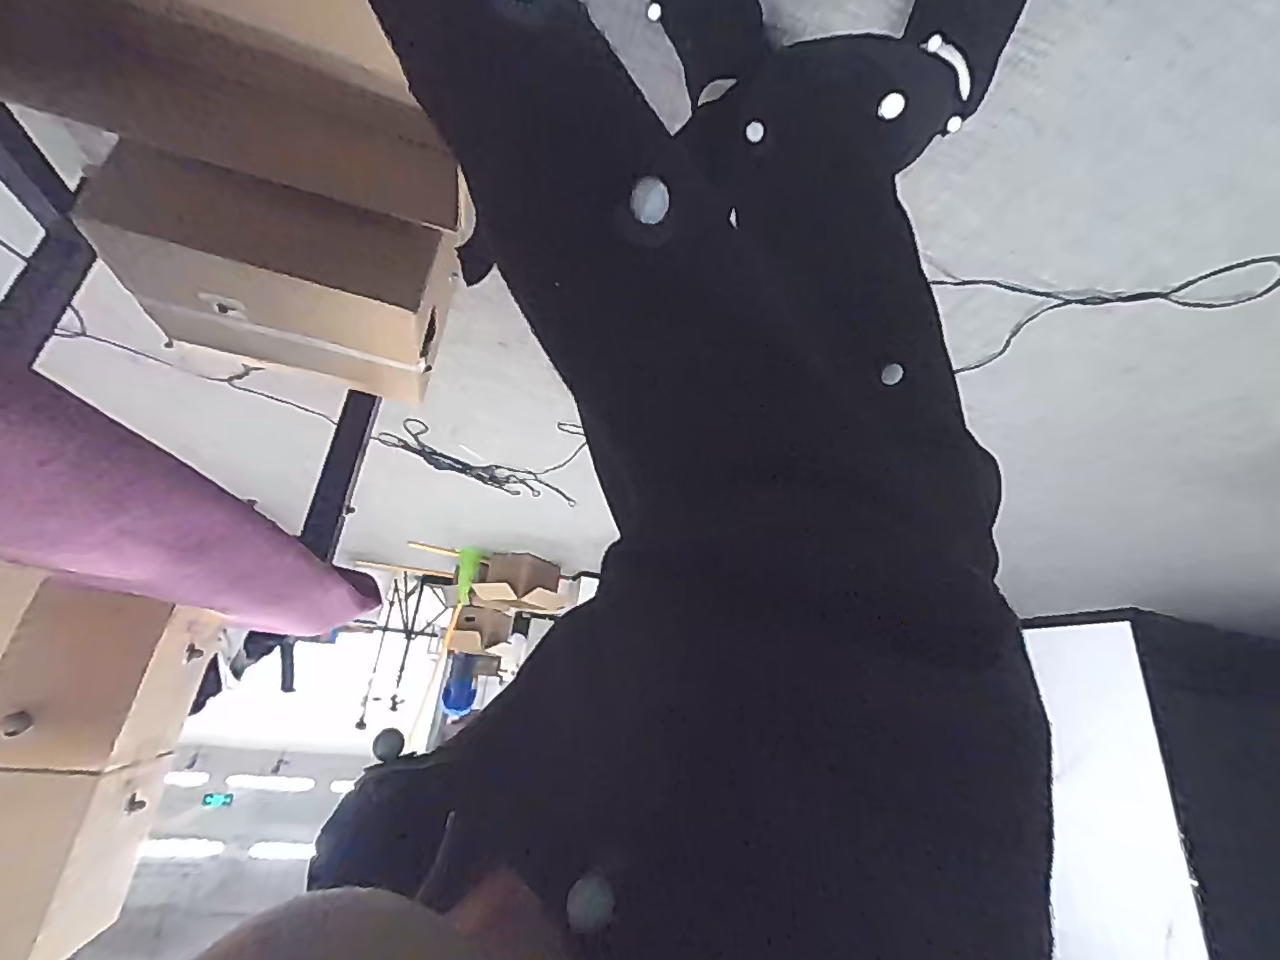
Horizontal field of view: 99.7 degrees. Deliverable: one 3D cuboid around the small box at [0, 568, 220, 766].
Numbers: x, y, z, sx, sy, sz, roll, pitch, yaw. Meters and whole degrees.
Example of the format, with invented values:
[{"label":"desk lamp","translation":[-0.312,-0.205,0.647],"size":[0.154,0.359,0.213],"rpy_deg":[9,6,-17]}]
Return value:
[{"label":"small box","translation":[-0.599,0.195,0.573],"size":[0.179,0.176,0.168],"rpy_deg":[12,158,-17]}]
